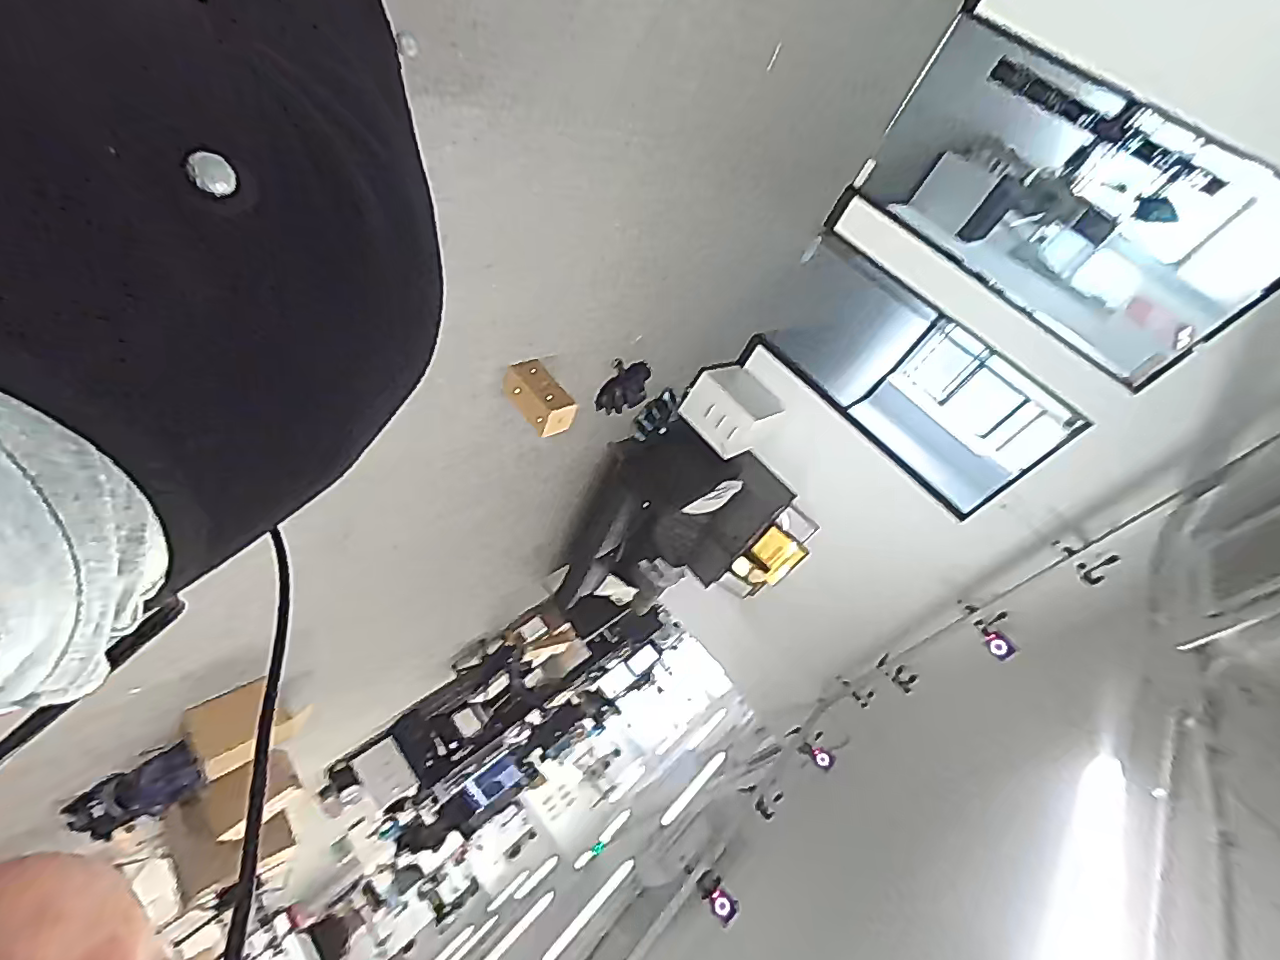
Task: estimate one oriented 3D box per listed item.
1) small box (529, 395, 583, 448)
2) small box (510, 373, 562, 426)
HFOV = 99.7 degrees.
[{"bbox_3d":[-0.403,-0.285,2.563,0.168,0.176,0.179,-26,156,-40],"label":"small box"},{"bbox_3d":[-0.508,-0.397,2.615,0.168,0.176,0.179,-27,155,-40],"label":"small box"}]
